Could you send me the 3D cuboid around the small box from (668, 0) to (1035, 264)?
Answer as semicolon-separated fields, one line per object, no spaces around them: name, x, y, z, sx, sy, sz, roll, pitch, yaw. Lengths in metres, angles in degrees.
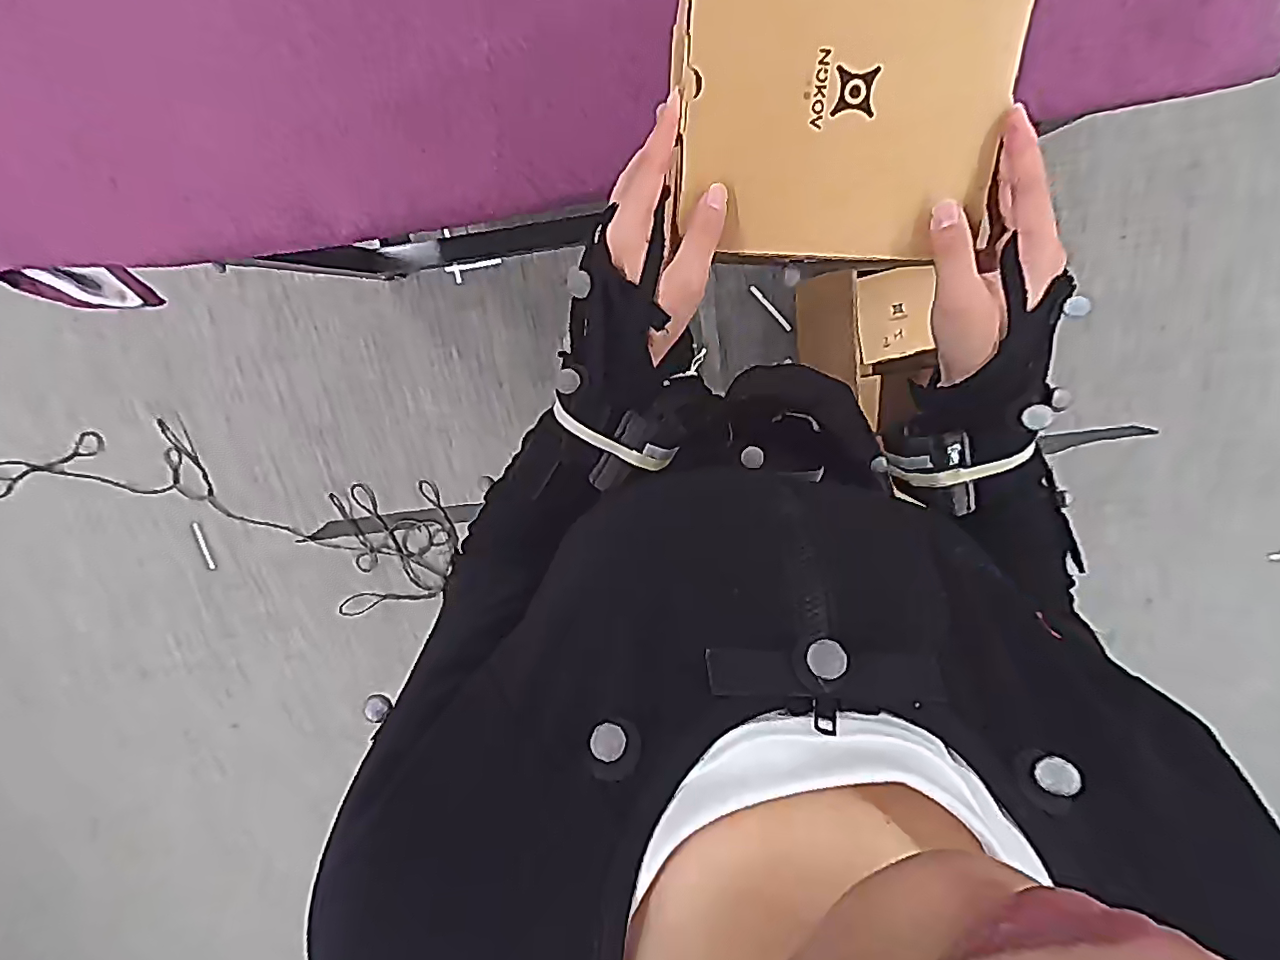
small box;0.113;-0.237;0.360;0.179;0.176;0.168;2;111;1
